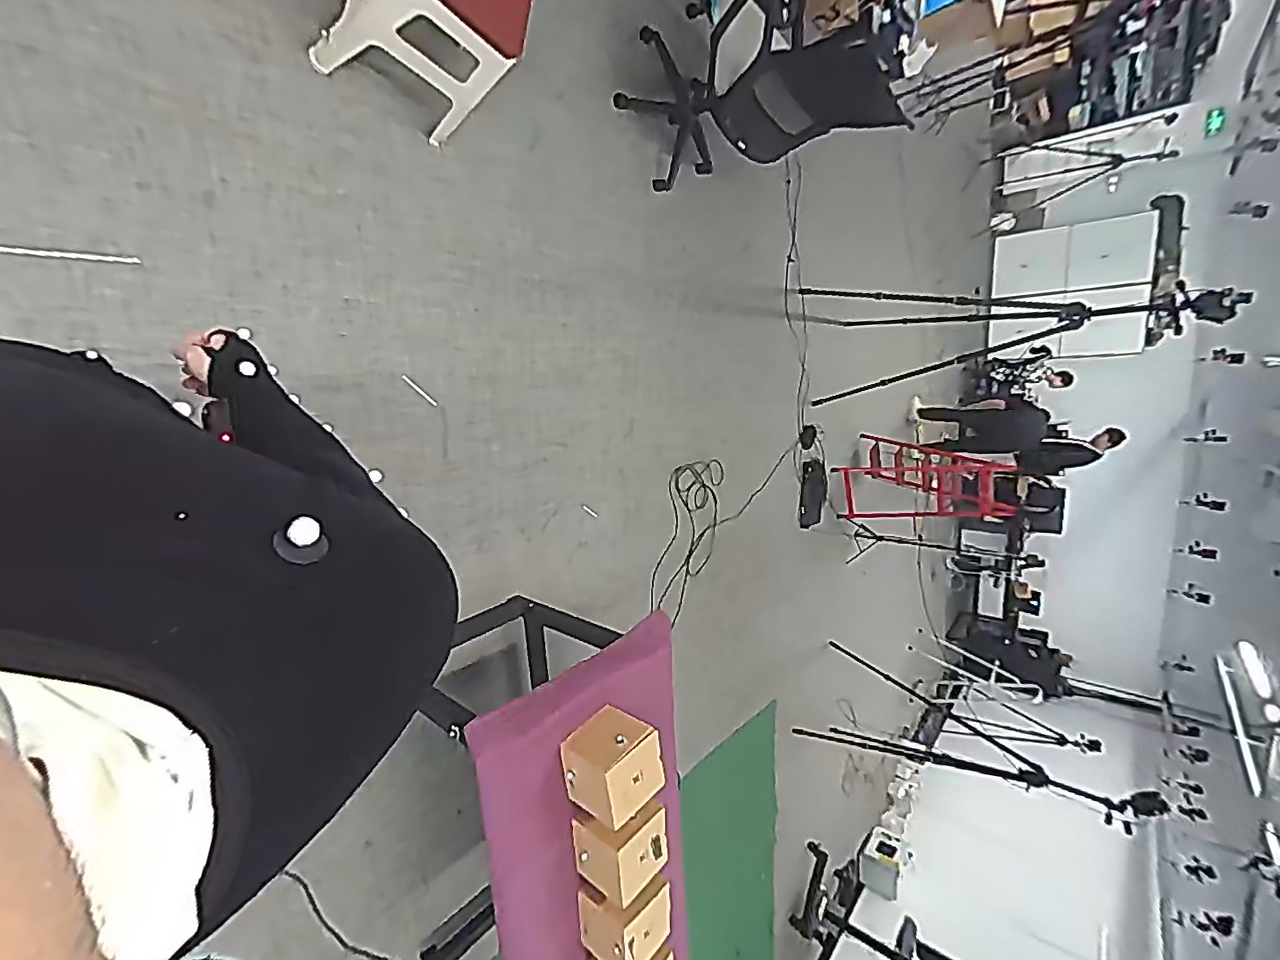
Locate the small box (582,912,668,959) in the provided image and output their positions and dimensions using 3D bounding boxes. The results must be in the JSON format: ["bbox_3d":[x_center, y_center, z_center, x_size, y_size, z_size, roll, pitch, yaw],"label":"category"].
[{"bbox_3d":[-0.041,1.345,1.472,0.179,0.176,0.168,-13,105,-46],"label":"small box"}]

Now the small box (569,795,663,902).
[{"bbox_3d":[-0.060,0.906,1.386,0.179,0.176,0.168,-16,107,-45],"label":"small box"}]

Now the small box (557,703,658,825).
[{"bbox_3d":[-0.079,0.685,1.333,0.179,0.176,0.168,-22,111,-44],"label":"small box"}]
